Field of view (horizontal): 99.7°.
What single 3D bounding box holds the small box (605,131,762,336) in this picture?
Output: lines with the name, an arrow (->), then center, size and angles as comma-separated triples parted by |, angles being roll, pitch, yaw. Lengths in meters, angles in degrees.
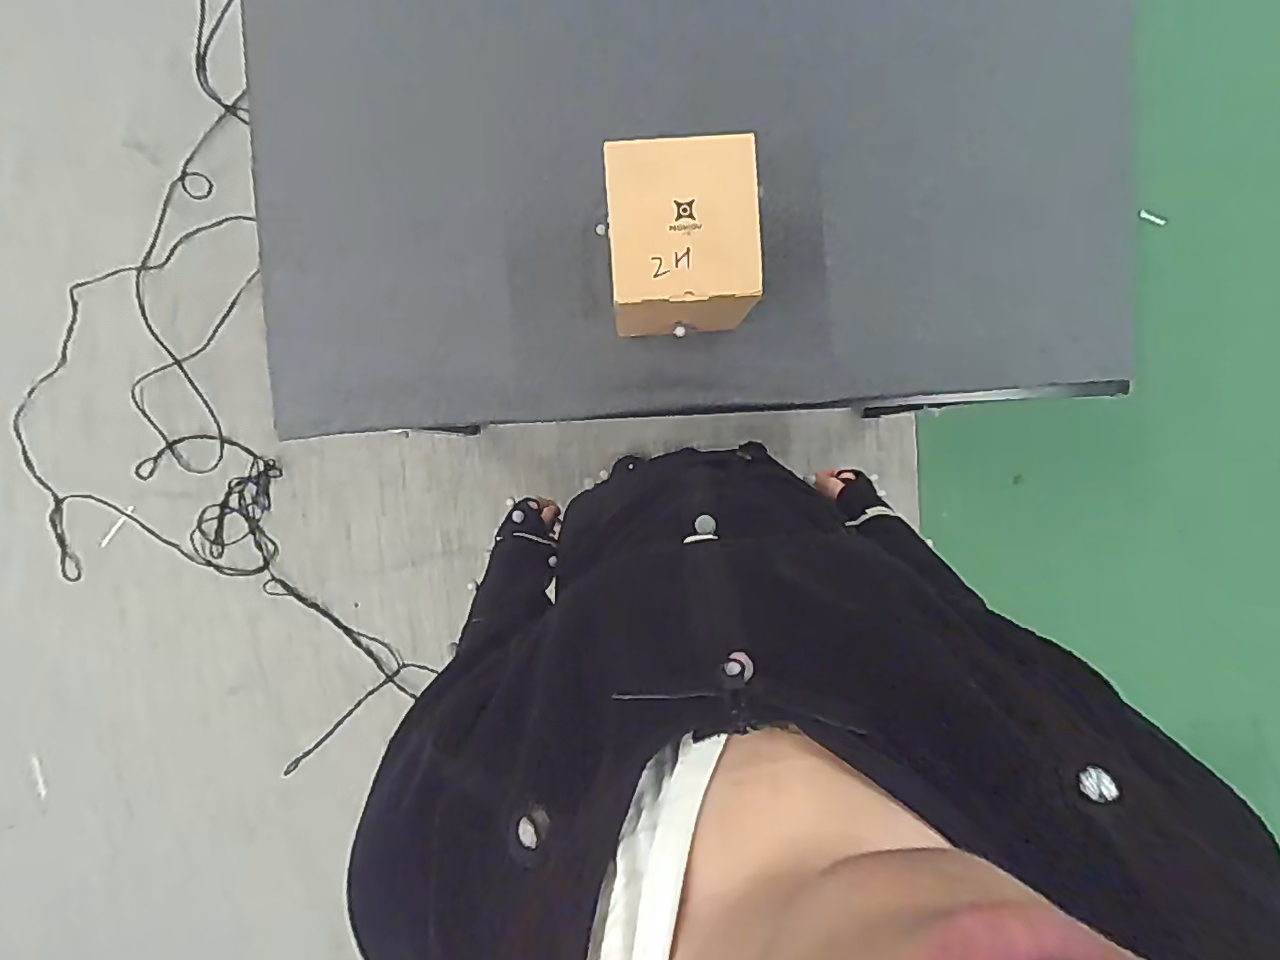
small box -> 0.045, -0.287, 0.662 | 0.168, 0.176, 0.179 | -4, 92, 0
